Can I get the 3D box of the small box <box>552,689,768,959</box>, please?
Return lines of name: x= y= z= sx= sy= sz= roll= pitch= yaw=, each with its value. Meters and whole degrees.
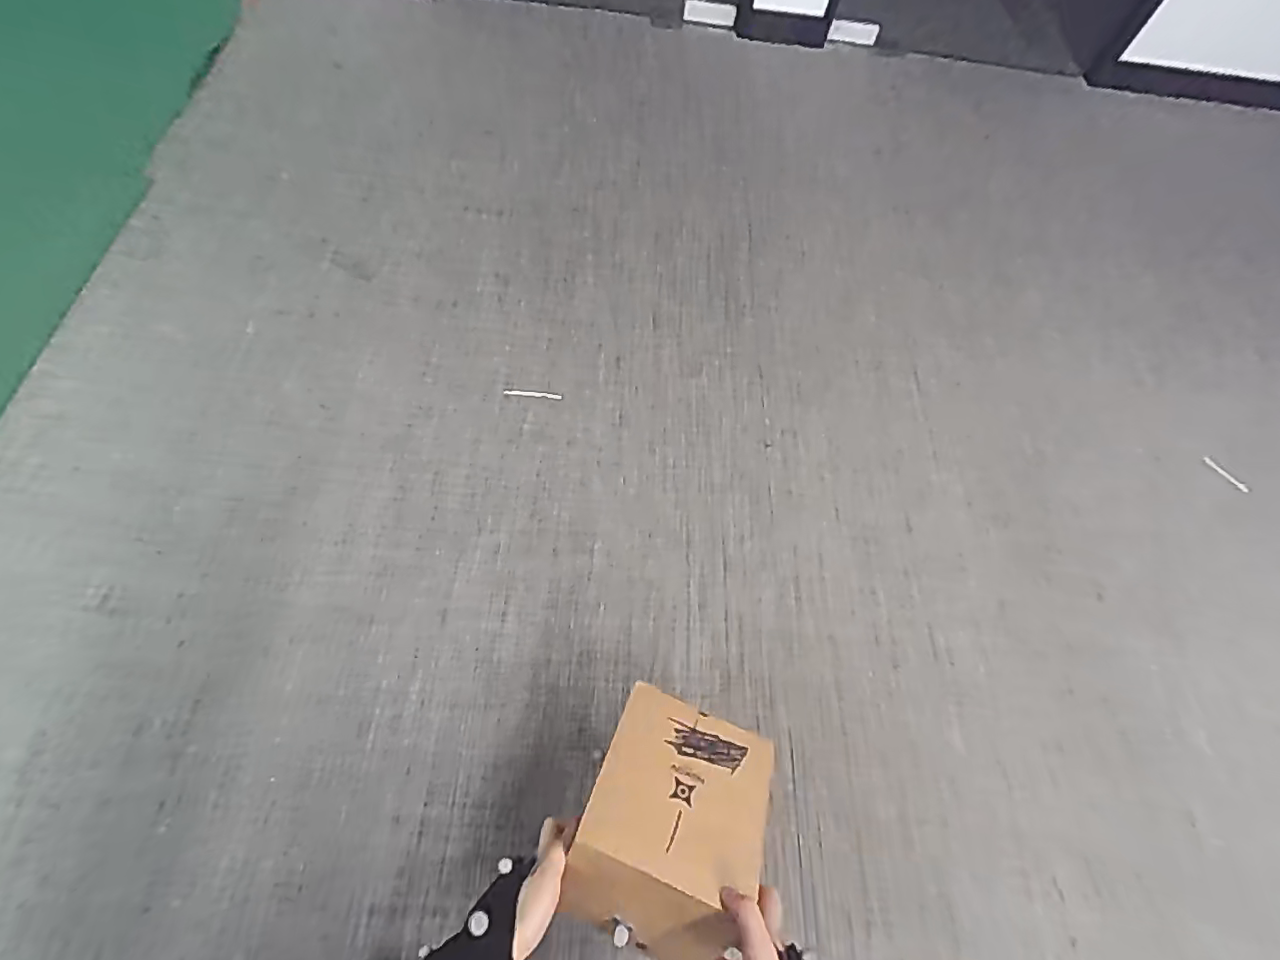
small box: x=0.020 y=0.368 z=0.571 sx=0.168 sy=0.176 sz=0.179 roll=22 pitch=34 yaw=6
